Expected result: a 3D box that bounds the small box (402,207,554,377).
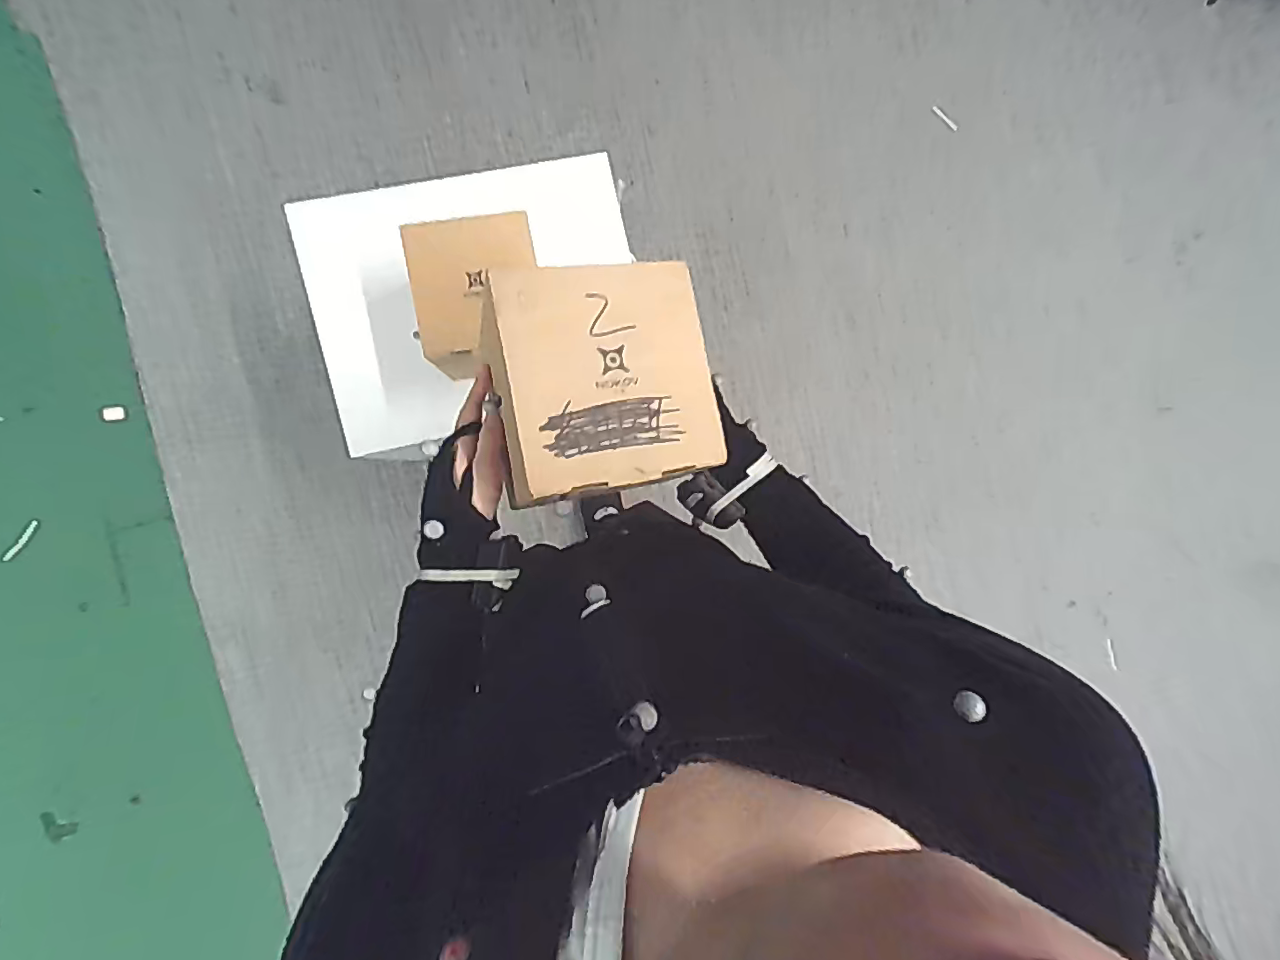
[{"bbox_3d":[-0.221,-0.260,0.778,0.168,0.176,0.179,-11,93,-7],"label":"small box"}]
